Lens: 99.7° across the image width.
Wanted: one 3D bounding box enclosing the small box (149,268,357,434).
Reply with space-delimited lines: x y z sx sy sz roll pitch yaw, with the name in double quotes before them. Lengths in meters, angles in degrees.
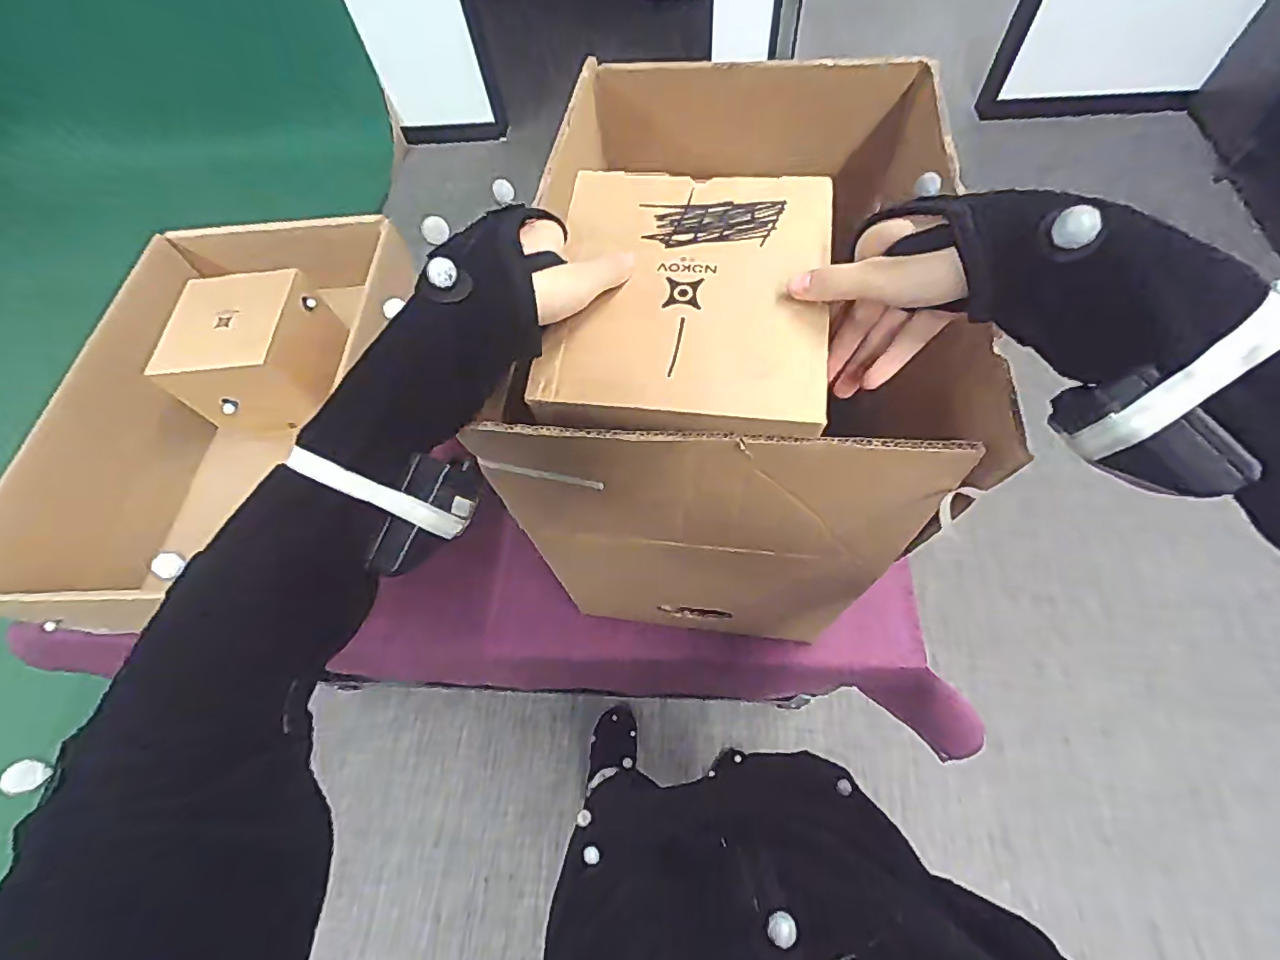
"small box" -0.552 -0.180 0.803 0.168 0.176 0.179 -5 63 4
